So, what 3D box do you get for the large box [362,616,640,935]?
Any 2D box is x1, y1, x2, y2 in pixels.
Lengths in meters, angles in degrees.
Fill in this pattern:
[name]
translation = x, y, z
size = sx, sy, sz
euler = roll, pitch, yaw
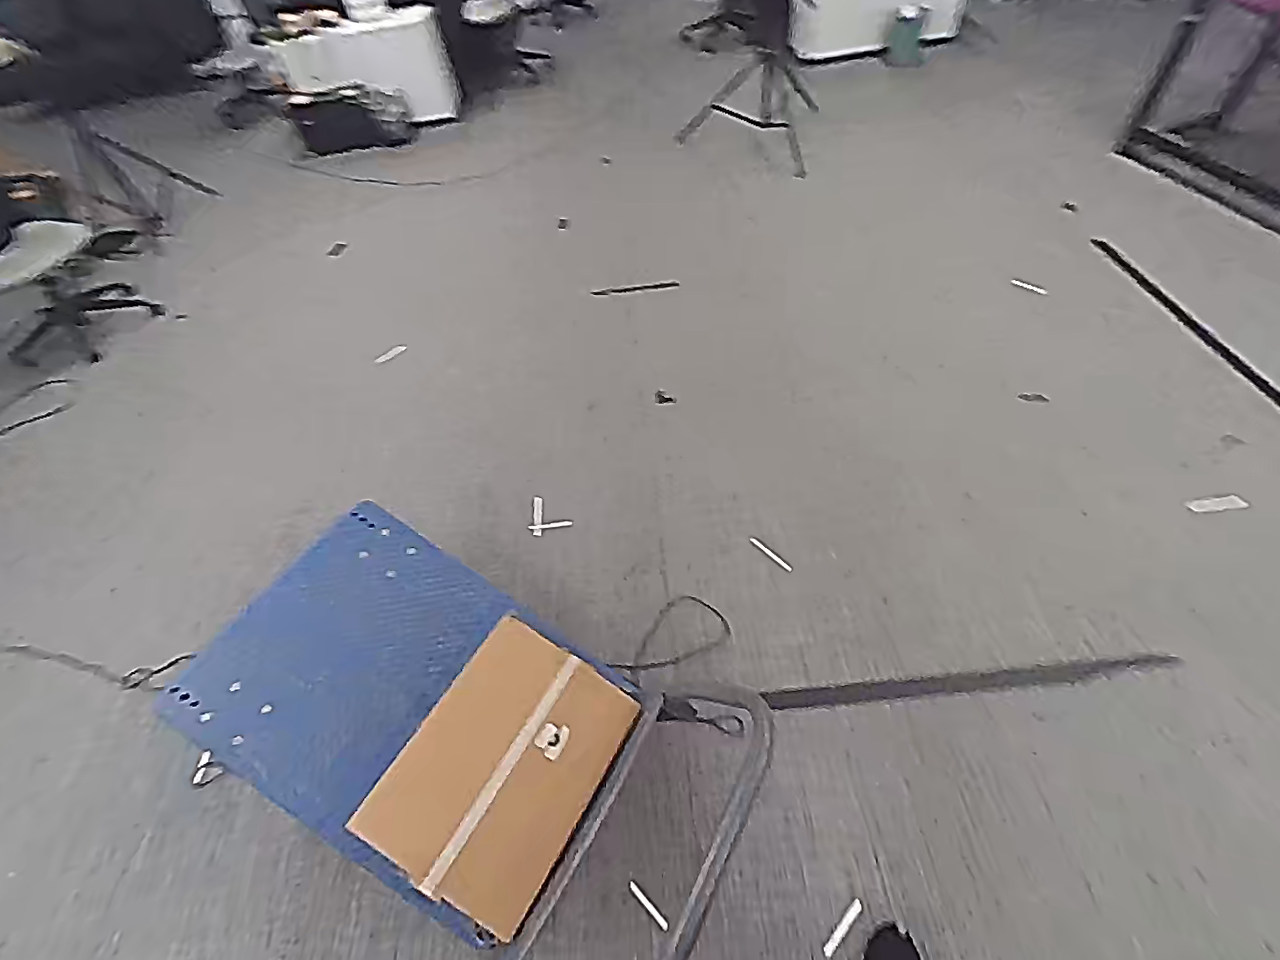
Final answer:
[large box]
translation = -0.256, 0.550, 1.069
size = 0.320, 0.320, 0.408
euler = 35, 61, 2
